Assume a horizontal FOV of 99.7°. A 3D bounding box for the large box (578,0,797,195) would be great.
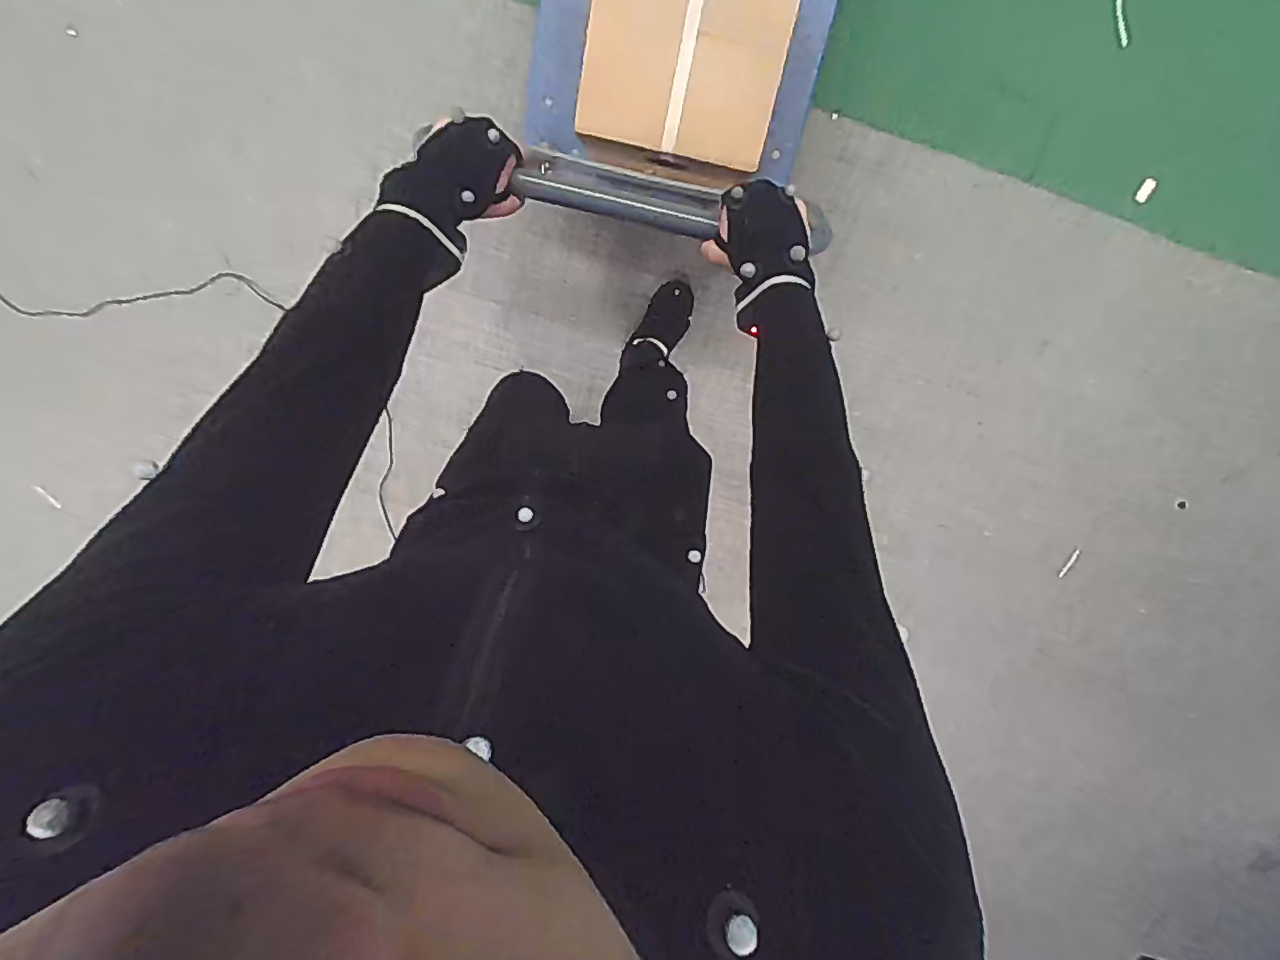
[{"bbox_3d":[0.088,-0.779,0.972,0.320,0.320,0.408,11,111,-3],"label":"large box"}]
